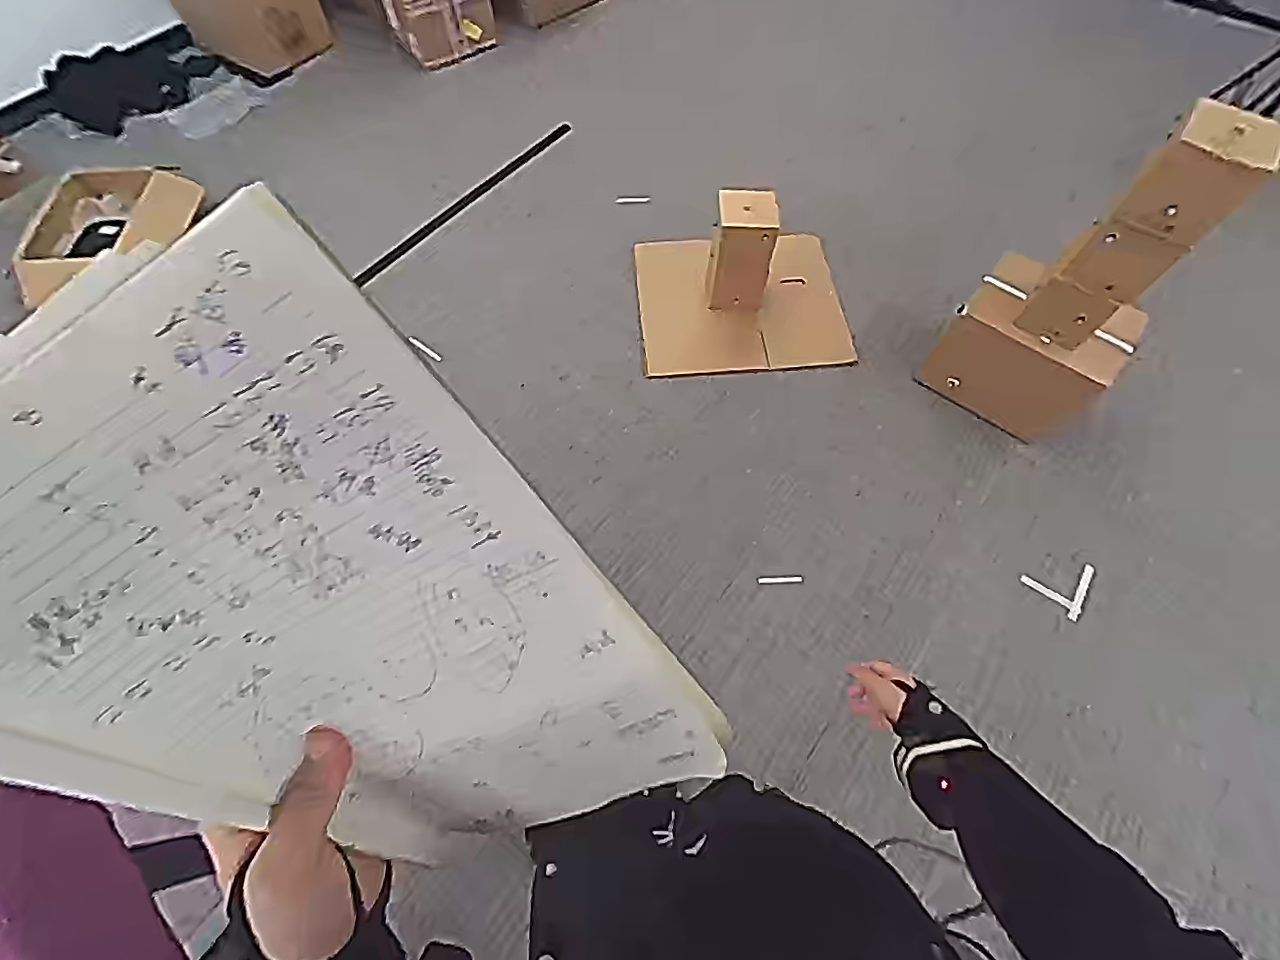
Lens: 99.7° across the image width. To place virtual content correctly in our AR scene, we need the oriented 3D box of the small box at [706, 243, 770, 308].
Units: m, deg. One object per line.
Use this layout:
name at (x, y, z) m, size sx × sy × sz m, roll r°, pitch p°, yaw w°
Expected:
small box at (0.325, -0.699, 1.824) m, size 0.179 × 0.176 × 0.168 m, roll 1°, pitch 64°, yaw -3°

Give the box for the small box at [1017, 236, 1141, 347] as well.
small box at (1.110, -0.474, 1.382) m, size 0.168 × 0.176 × 0.179 m, roll 32°, pitch 68°, yaw 13°

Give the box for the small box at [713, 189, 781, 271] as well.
small box at (0.324, -0.771, 1.677) m, size 0.179 × 0.176 × 0.168 m, roll 2°, pitch 64°, yaw -1°

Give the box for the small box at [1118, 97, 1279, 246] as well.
small box at (1.119, -0.612, 1.083) m, size 0.168 × 0.176 × 0.179 m, roll 34°, pitch 69°, yaw 15°
